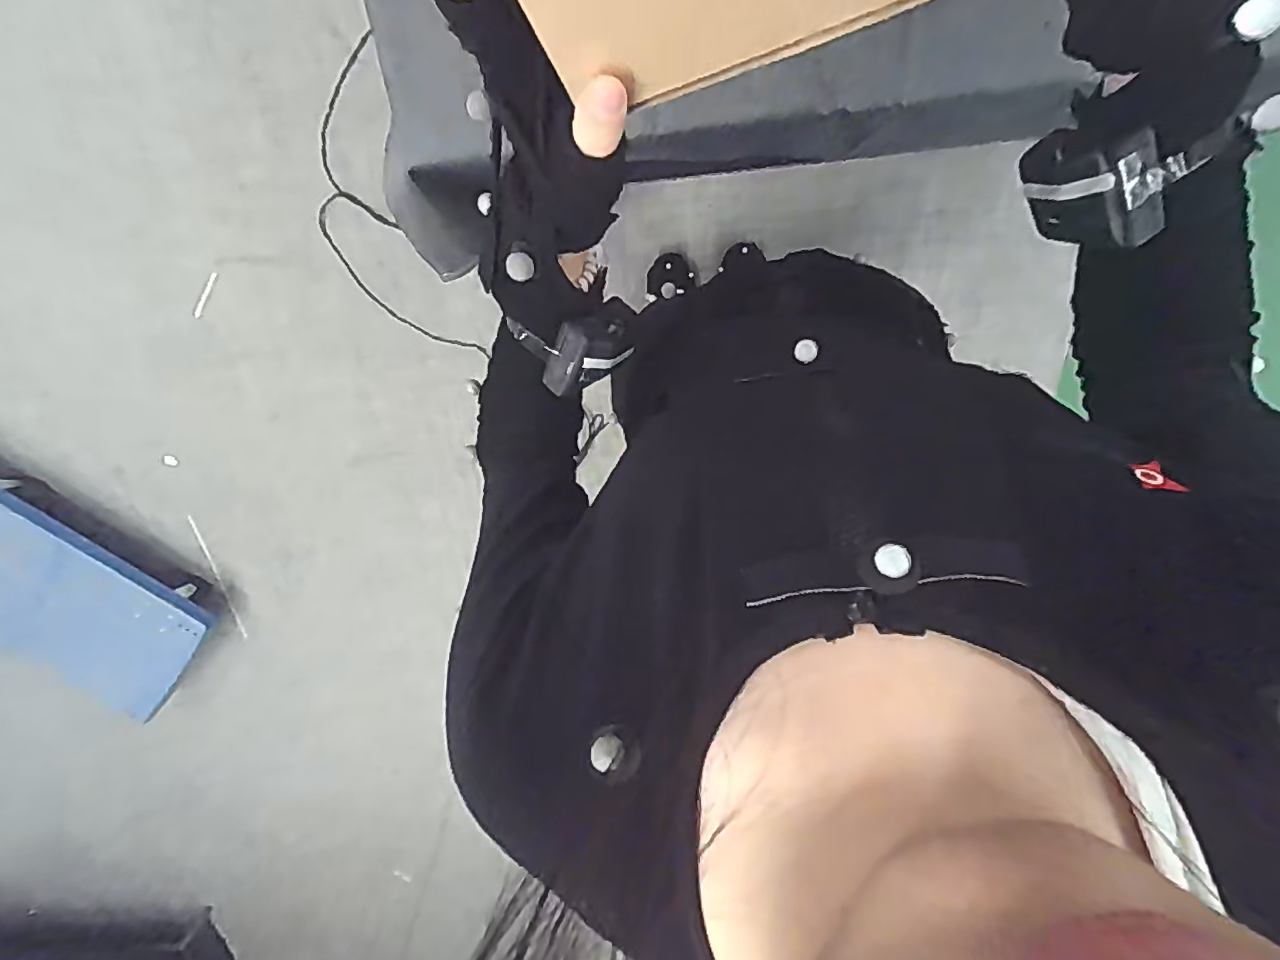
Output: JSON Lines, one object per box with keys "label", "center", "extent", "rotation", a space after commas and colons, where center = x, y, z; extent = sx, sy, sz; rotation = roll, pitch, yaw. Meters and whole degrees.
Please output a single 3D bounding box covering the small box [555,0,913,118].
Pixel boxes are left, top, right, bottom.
{"label": "small box", "center": [0.028, -0.258, 0.145], "extent": [0.179, 0.176, 0.168], "rotation": [-9, 73, 19]}
